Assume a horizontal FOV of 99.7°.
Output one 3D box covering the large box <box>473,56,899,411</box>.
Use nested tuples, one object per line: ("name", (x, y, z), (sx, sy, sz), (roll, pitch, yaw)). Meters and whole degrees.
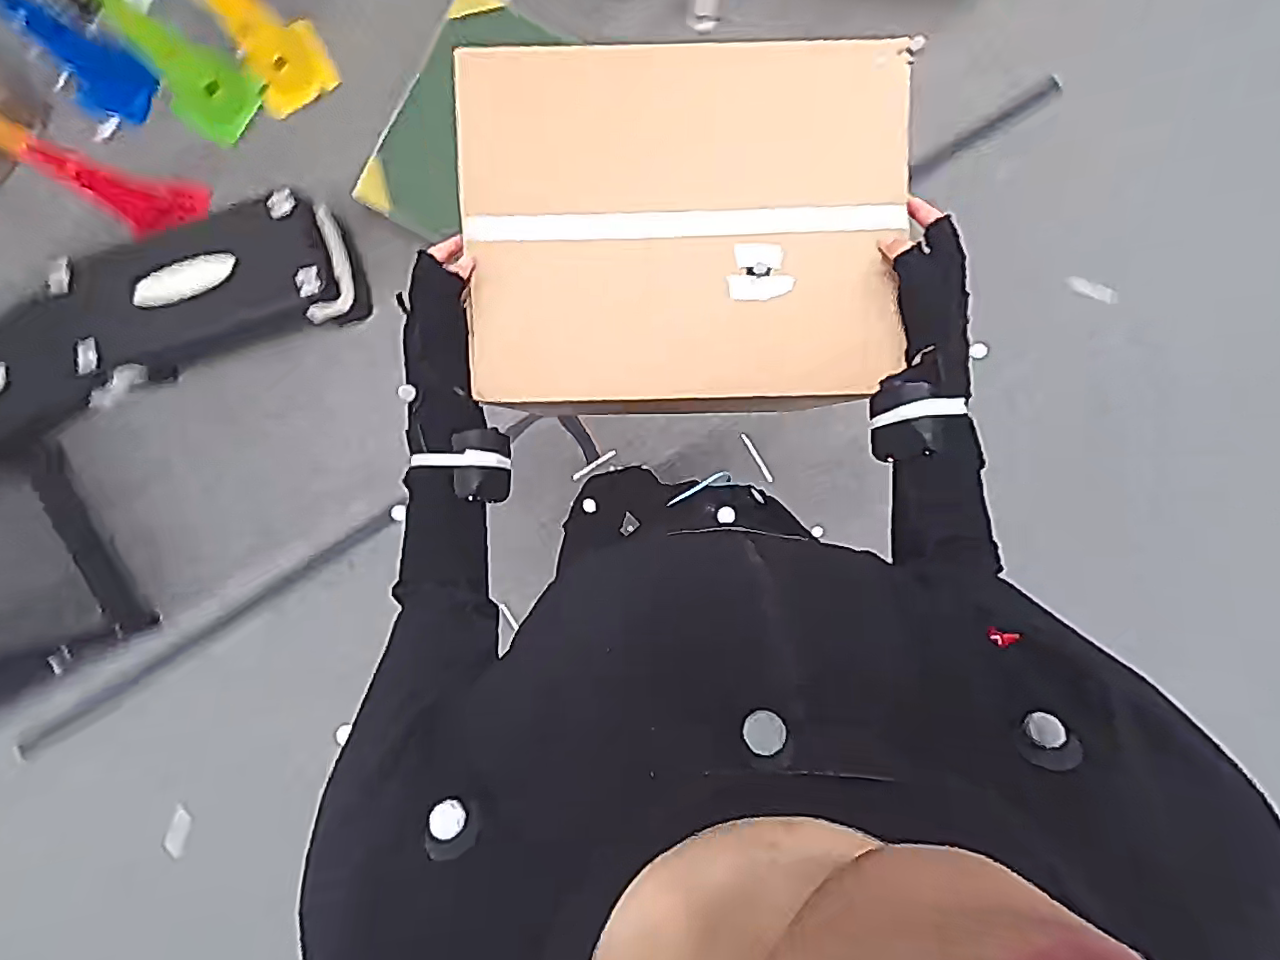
("large box", (0.042, -0.250, 0.660), (0.408, 0.320, 0.320), (0, 95, 0))
